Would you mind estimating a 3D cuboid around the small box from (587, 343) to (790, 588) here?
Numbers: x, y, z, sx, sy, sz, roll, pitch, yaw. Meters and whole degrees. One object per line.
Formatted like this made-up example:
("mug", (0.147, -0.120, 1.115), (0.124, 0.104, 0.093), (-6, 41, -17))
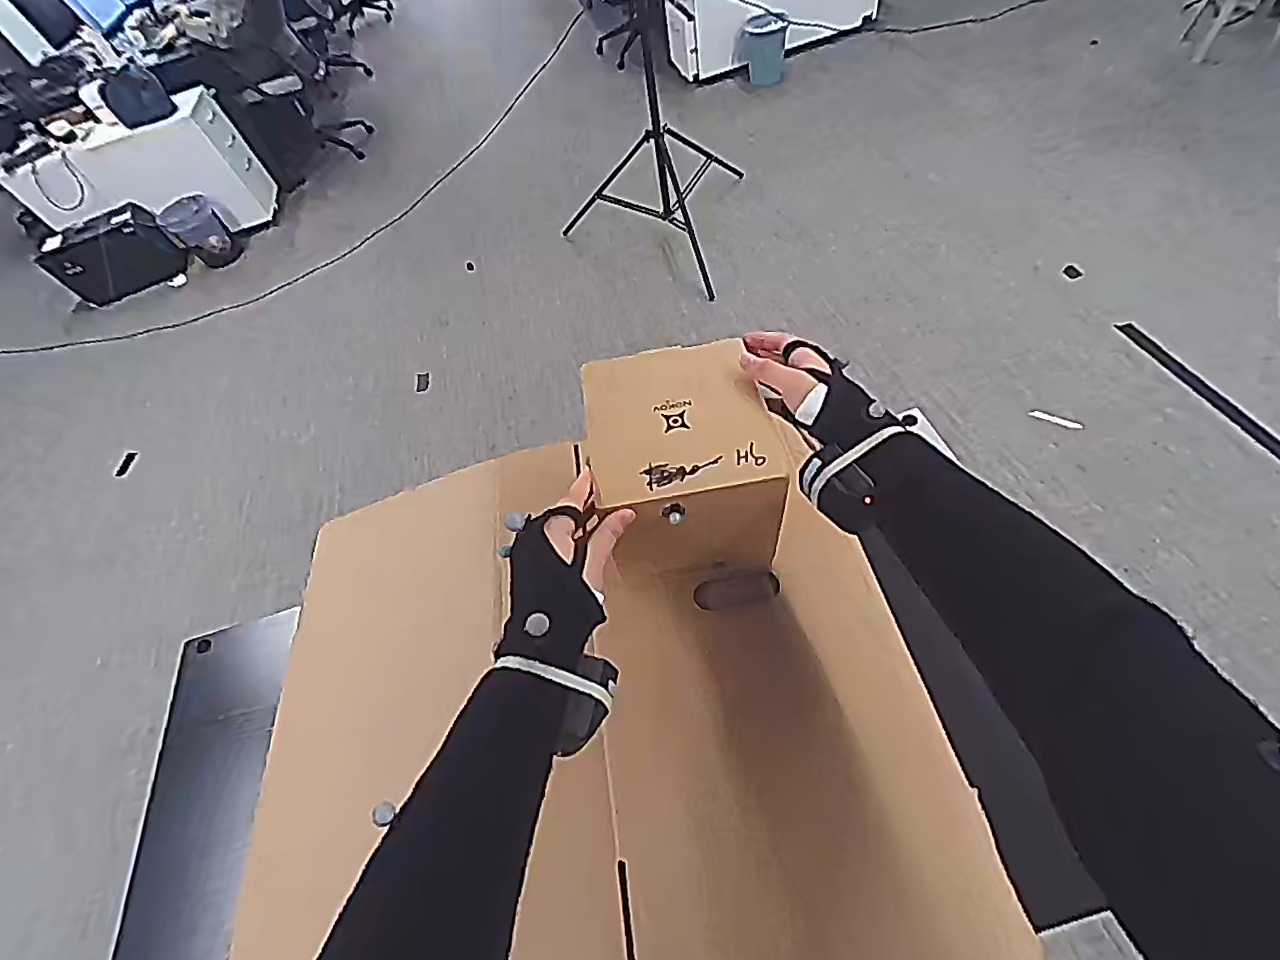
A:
("small box", (0.044, -0.011, 0.562), (0.168, 0.176, 0.179), (-10, 54, 2))
